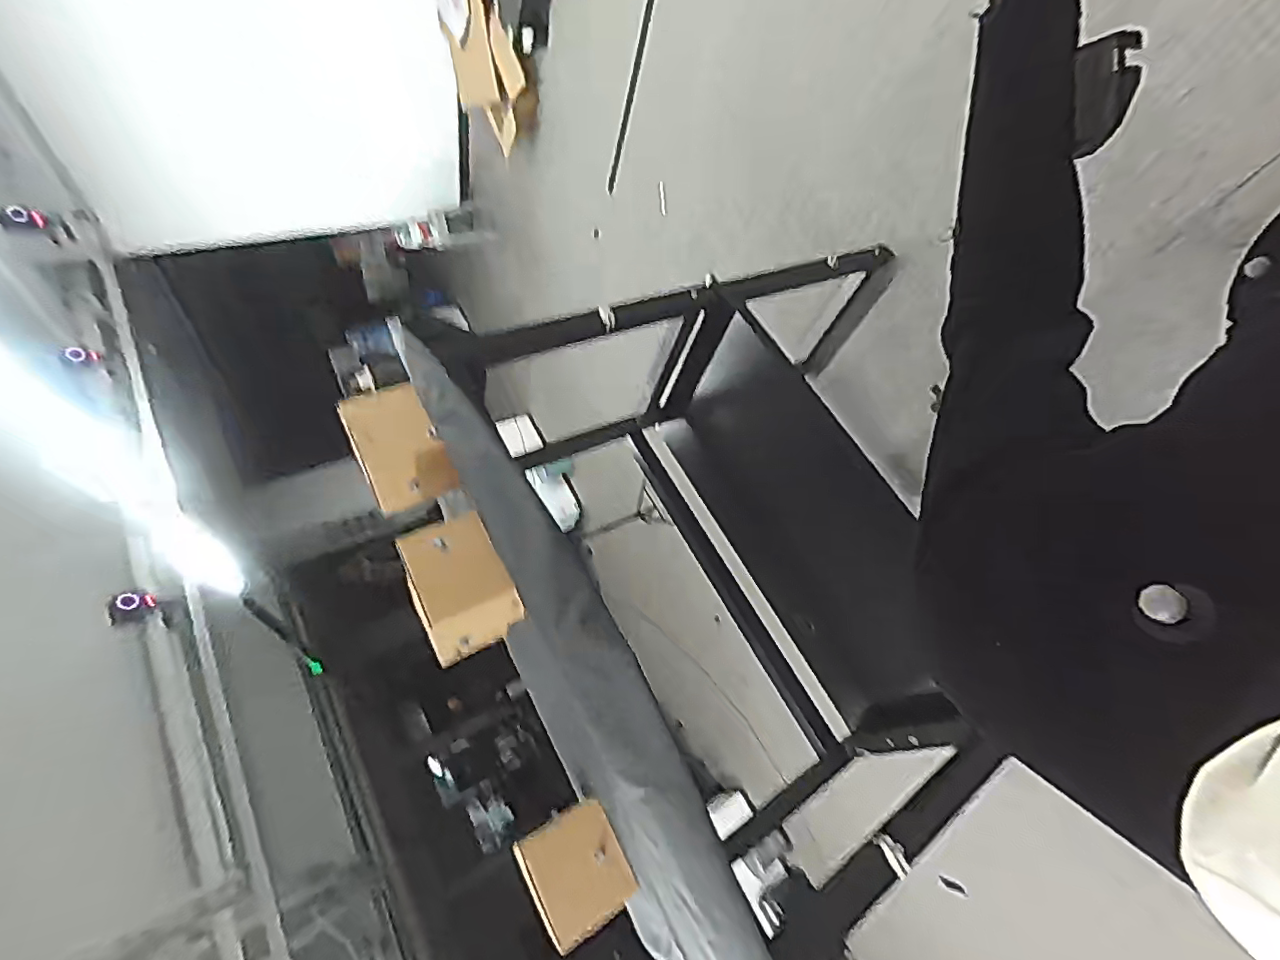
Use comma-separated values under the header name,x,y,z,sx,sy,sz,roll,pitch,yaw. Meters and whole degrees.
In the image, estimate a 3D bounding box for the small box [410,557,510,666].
name,x,y,z,sx,sy,sz,roll,pitch,yaw
small box,-0.415,0.303,1.261,0.168,0.176,0.179,57,152,20

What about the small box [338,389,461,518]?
name,x,y,z,sx,sy,sz,roll,pitch,yaw
small box,-0.478,-0.058,1.097,0.168,0.176,0.179,56,153,21

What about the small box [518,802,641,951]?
name,x,y,z,sx,sy,sz,roll,pitch,yaw
small box,-0.123,0.759,1.061,0.179,0.176,0.168,58,152,21
